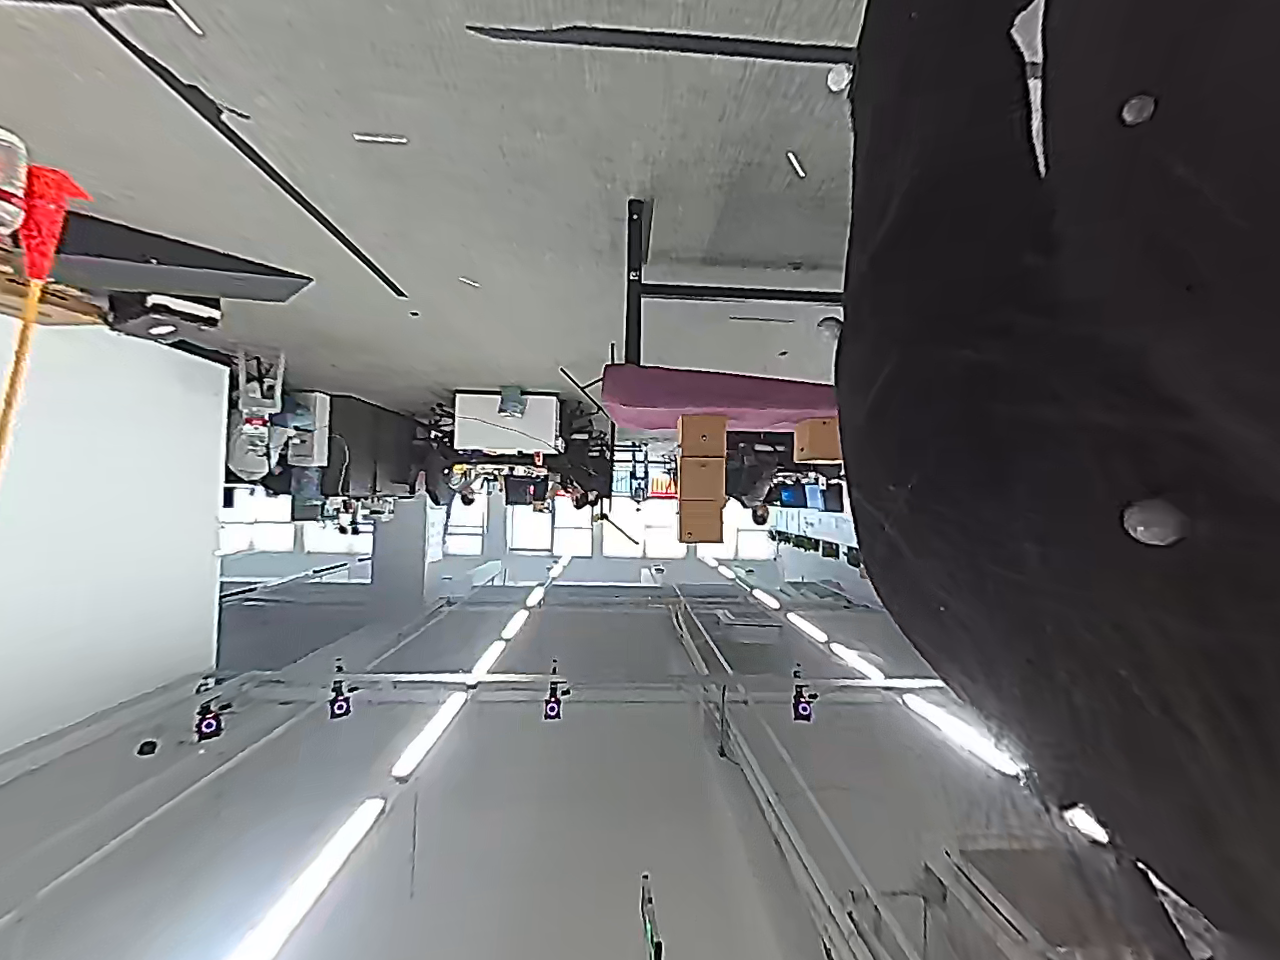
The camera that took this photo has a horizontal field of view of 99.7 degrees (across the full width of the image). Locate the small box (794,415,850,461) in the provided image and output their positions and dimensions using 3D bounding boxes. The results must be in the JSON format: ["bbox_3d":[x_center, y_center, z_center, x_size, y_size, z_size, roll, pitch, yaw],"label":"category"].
[{"bbox_3d":[0.726,-0.166,2.167,0.168,0.176,0.179,1,179,-3],"label":"small box"}]

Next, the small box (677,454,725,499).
[{"bbox_3d":[0.238,-0.012,2.132,0.179,0.176,0.168,1,179,2],"label":"small box"}]

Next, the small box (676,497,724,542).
[{"bbox_3d":[0.236,0.151,2.136,0.179,0.176,0.168,0,179,1],"label":"small box"}]
